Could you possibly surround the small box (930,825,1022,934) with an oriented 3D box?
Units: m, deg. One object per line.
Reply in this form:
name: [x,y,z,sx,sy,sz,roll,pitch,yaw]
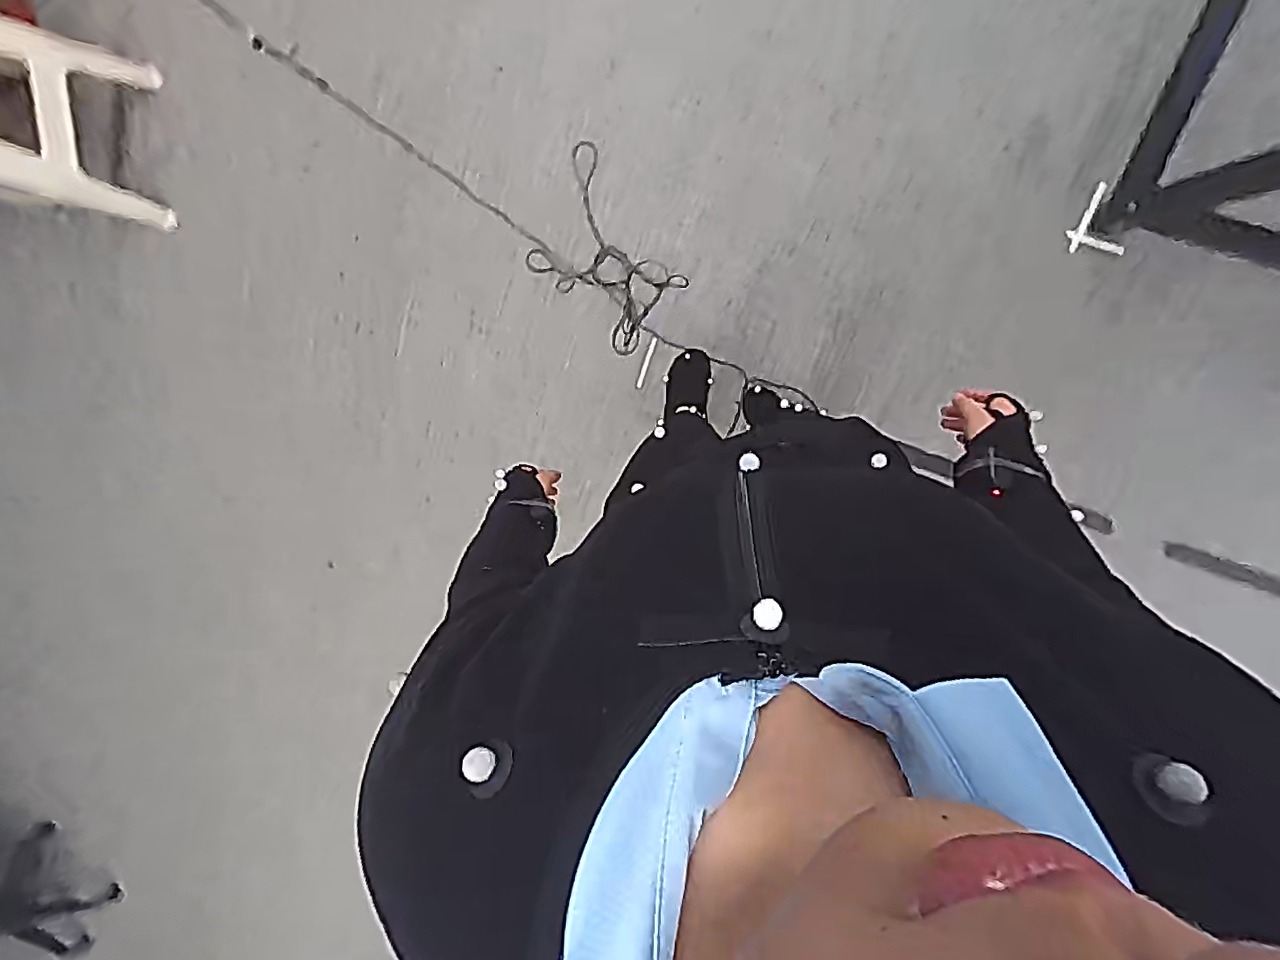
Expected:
small box: [0.962,1.164,1.588,0.168,0.176,0.179,17,106,4]
